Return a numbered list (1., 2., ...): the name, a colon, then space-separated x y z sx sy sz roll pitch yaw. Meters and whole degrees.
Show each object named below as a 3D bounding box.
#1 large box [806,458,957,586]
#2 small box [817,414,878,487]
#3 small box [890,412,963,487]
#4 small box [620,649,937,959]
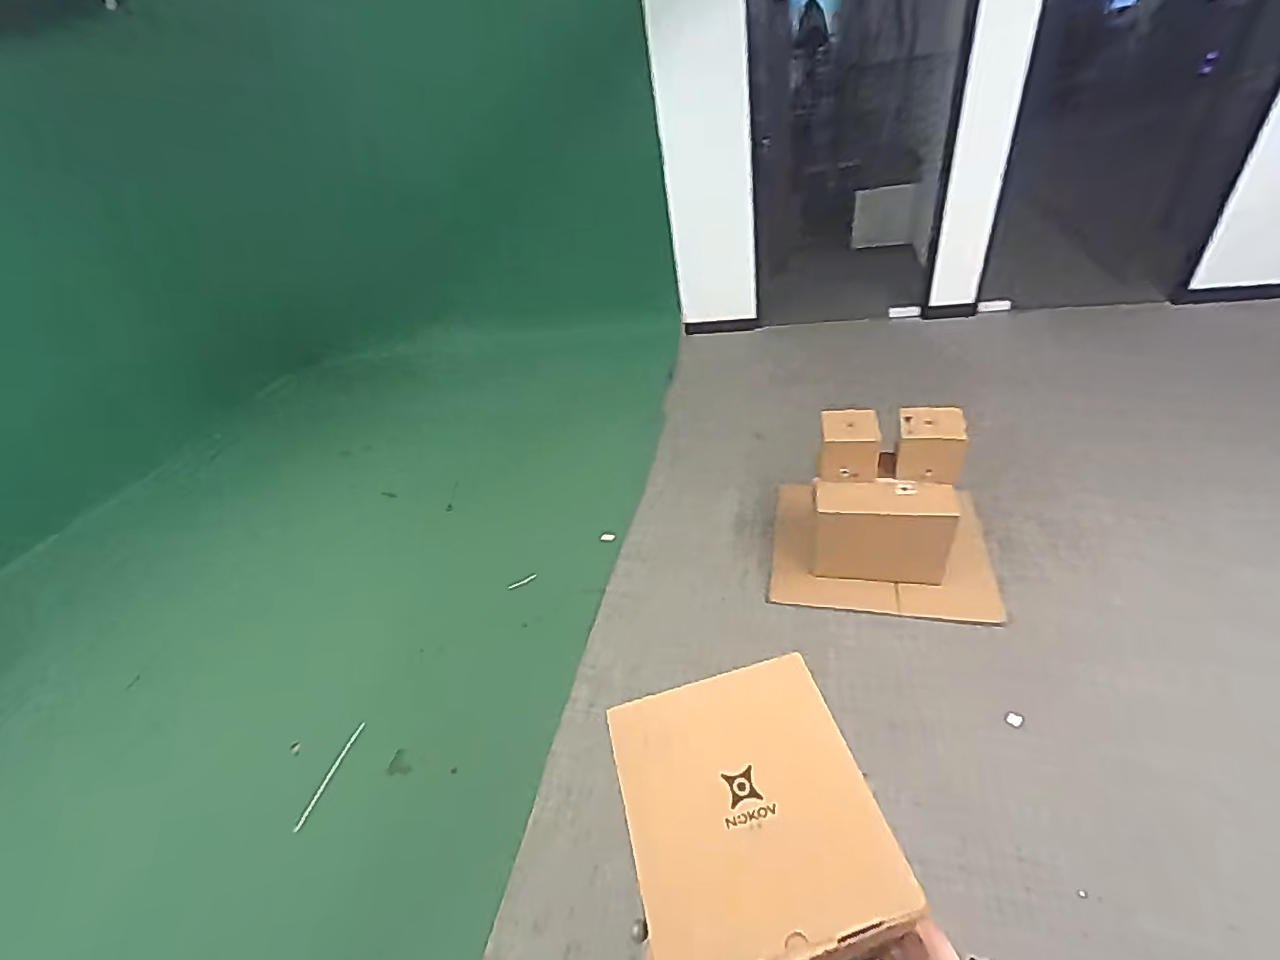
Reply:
1. large box: 0.783 0.137 1.826 0.408 0.320 0.320 1 40 15
2. small box: 0.667 -0.096 1.755 0.168 0.176 0.179 -1 39 14
3. small box: 0.889 -0.095 1.690 0.179 0.176 0.168 4 41 20
4. small box: 0.088 0.269 0.426 0.168 0.176 0.179 -14 43 -5
